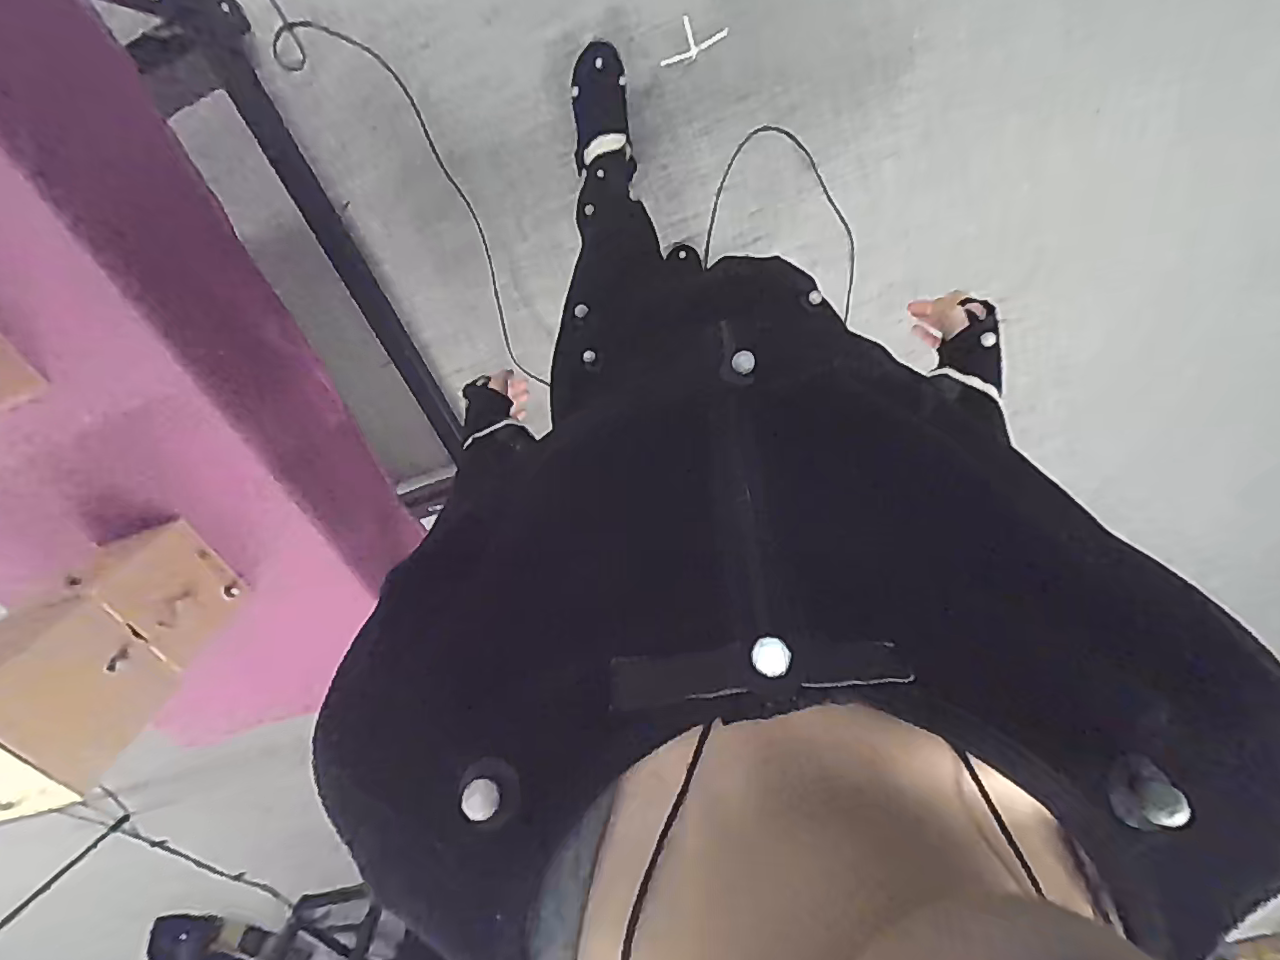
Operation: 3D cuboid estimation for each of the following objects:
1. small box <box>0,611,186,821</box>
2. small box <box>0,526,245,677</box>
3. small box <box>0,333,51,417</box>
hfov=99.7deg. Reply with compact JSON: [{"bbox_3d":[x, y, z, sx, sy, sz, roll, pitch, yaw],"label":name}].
[{"bbox_3d":[-0.741,0.284,0.672,0.168,0.176,0.179,-16,118,10],"label":"small box"},{"bbox_3d":[-0.745,0.193,0.810,0.179,0.176,0.168,-17,118,11],"label":"small box"},{"bbox_3d":[-0.882,-0.126,0.625,0.168,0.176,0.179,-16,118,10],"label":"small box"}]
